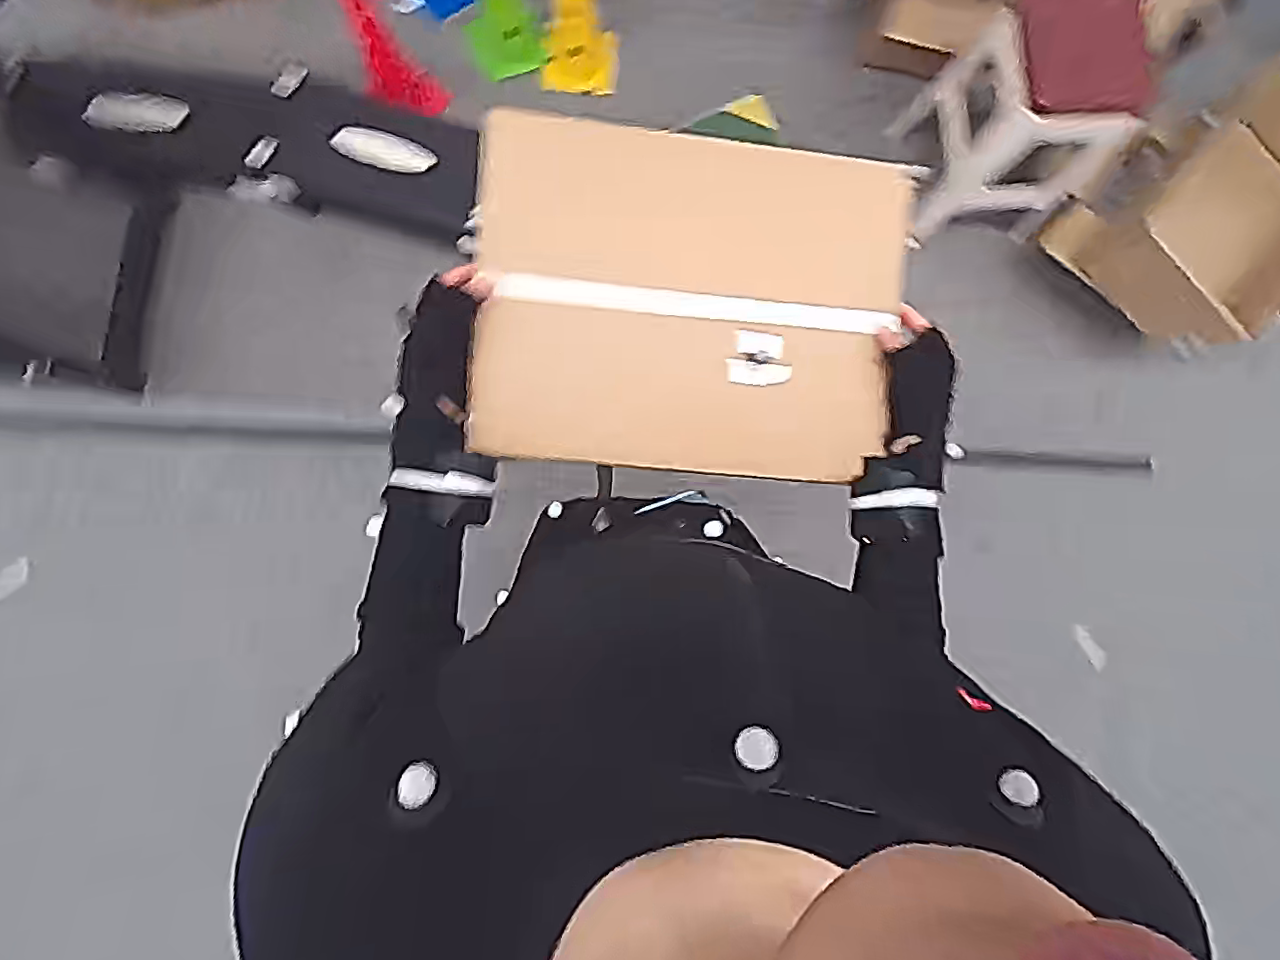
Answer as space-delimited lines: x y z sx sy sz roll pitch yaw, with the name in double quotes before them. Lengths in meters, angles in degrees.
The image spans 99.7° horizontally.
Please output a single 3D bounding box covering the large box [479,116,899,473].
"large box" 0.036 -0.179 0.673 0.408 0.320 0.320 5 93 -6
